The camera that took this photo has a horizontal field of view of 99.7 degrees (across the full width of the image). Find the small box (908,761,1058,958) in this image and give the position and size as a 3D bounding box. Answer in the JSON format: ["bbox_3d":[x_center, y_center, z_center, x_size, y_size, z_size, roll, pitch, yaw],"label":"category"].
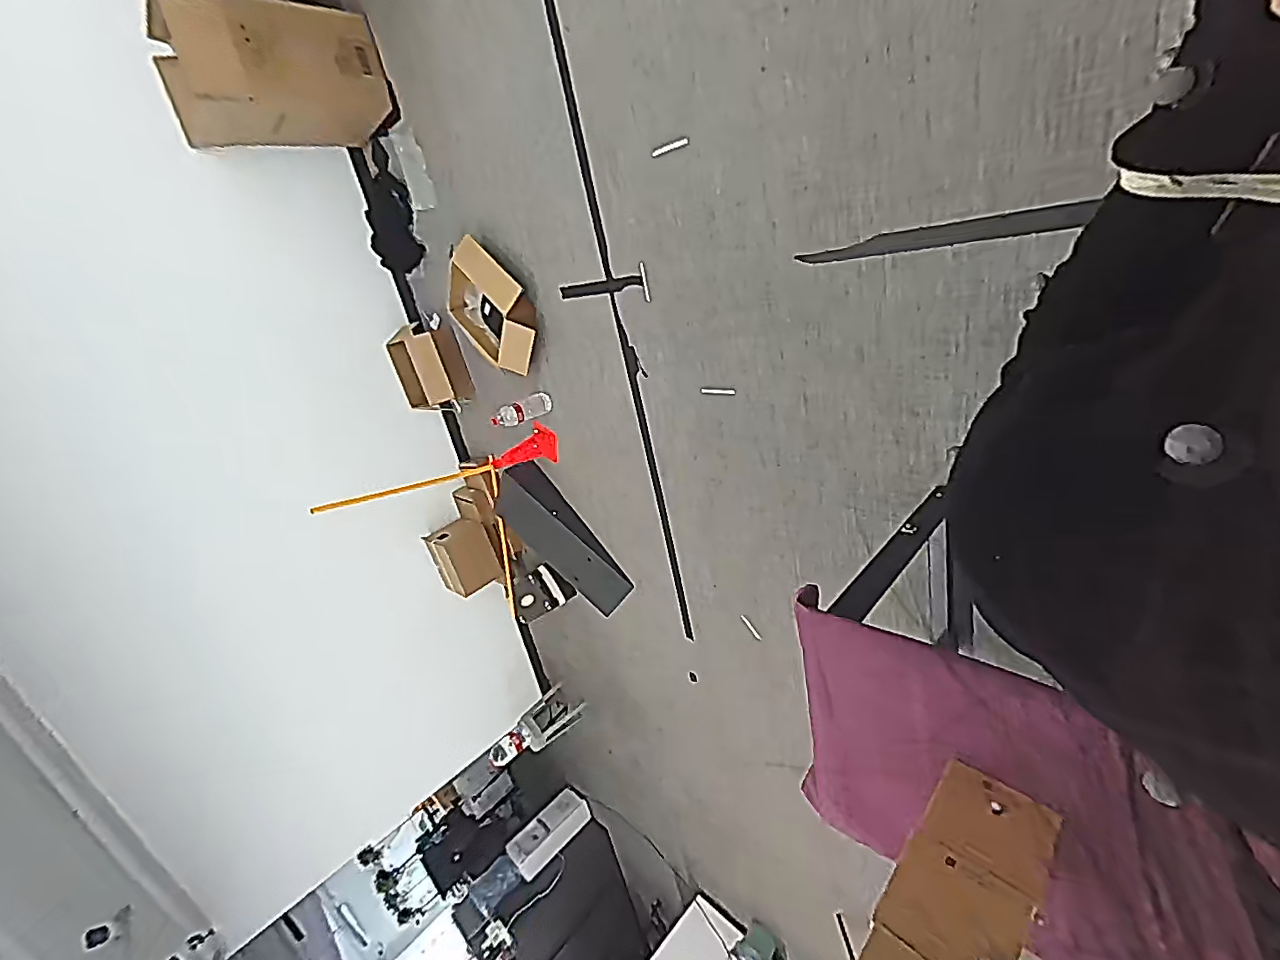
[{"bbox_3d":[0.575,0.626,0.911,0.168,0.176,0.179,18,127,42],"label":"small box"}]
